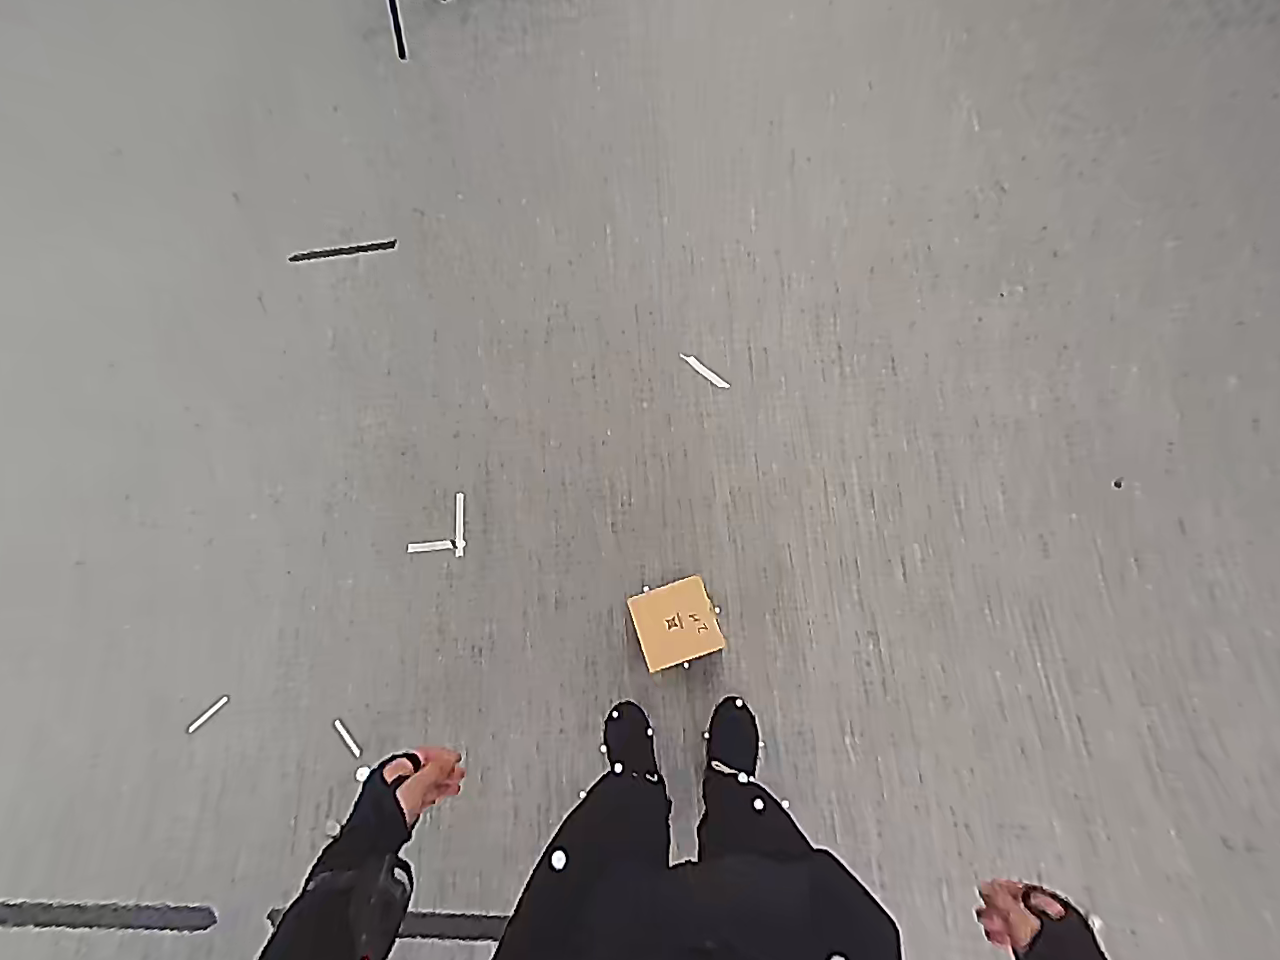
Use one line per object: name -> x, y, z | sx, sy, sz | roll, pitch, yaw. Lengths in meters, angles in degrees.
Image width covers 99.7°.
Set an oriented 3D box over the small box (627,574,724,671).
small box -> 0.085, 0.331, 1.246 | 0.179, 0.176, 0.168 | -19, 73, 1
